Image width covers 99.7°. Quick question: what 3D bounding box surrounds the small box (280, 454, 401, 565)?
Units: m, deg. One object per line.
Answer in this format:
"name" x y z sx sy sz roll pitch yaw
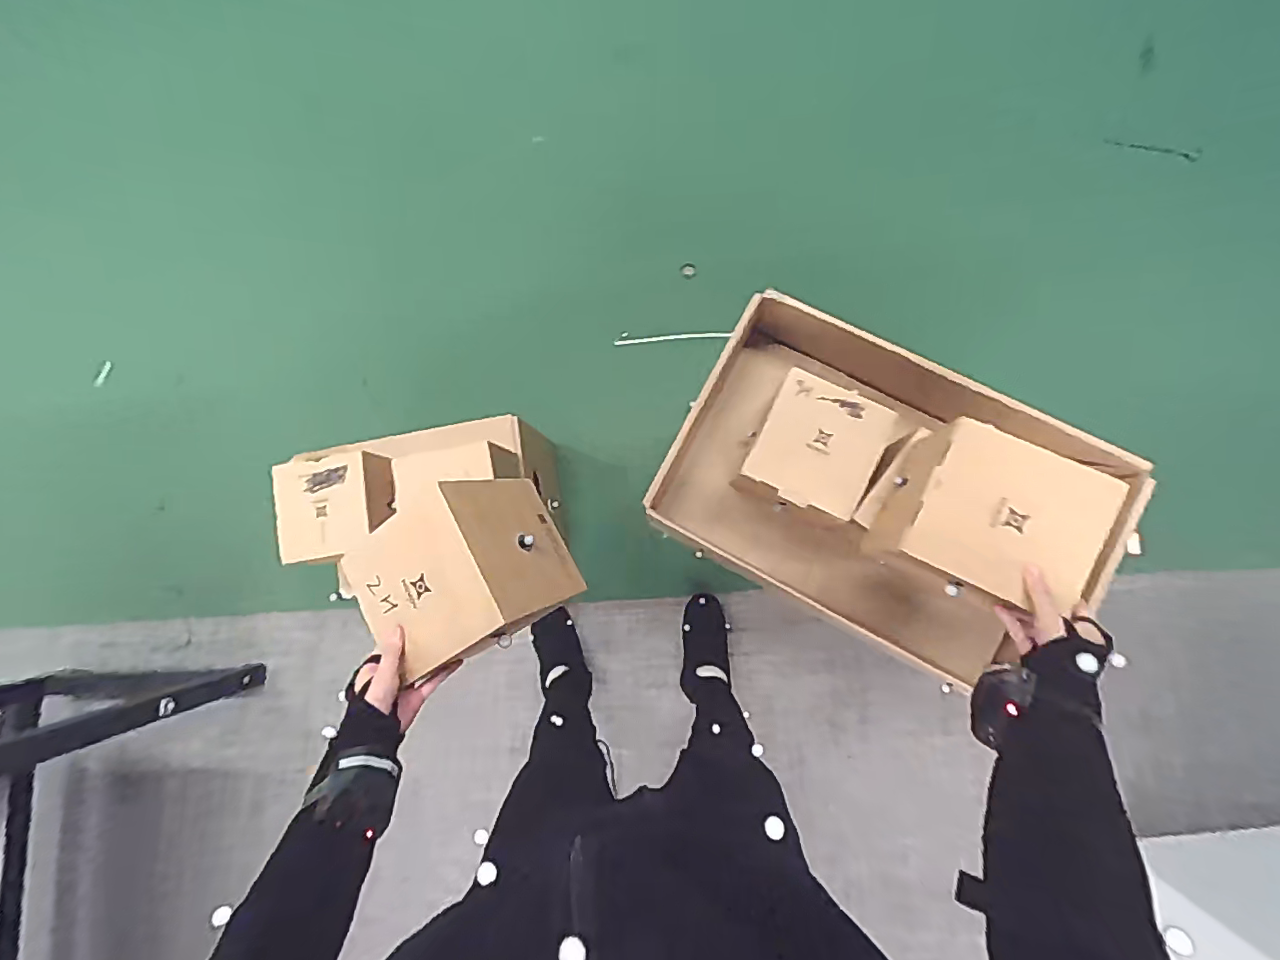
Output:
"small box" -0.534 0.062 1.013 0.168 0.176 0.179 -10 82 4

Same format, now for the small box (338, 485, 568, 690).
"small box" -0.210 0.116 0.649 0.179 0.176 0.168 -35 77 19

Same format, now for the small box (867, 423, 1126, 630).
"small box" 0.402 0.053 0.646 0.179 0.176 0.168 26 88 13

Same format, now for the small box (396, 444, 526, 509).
"small box" -0.317 0.042 0.996 0.179 0.176 0.168 -11 83 4
